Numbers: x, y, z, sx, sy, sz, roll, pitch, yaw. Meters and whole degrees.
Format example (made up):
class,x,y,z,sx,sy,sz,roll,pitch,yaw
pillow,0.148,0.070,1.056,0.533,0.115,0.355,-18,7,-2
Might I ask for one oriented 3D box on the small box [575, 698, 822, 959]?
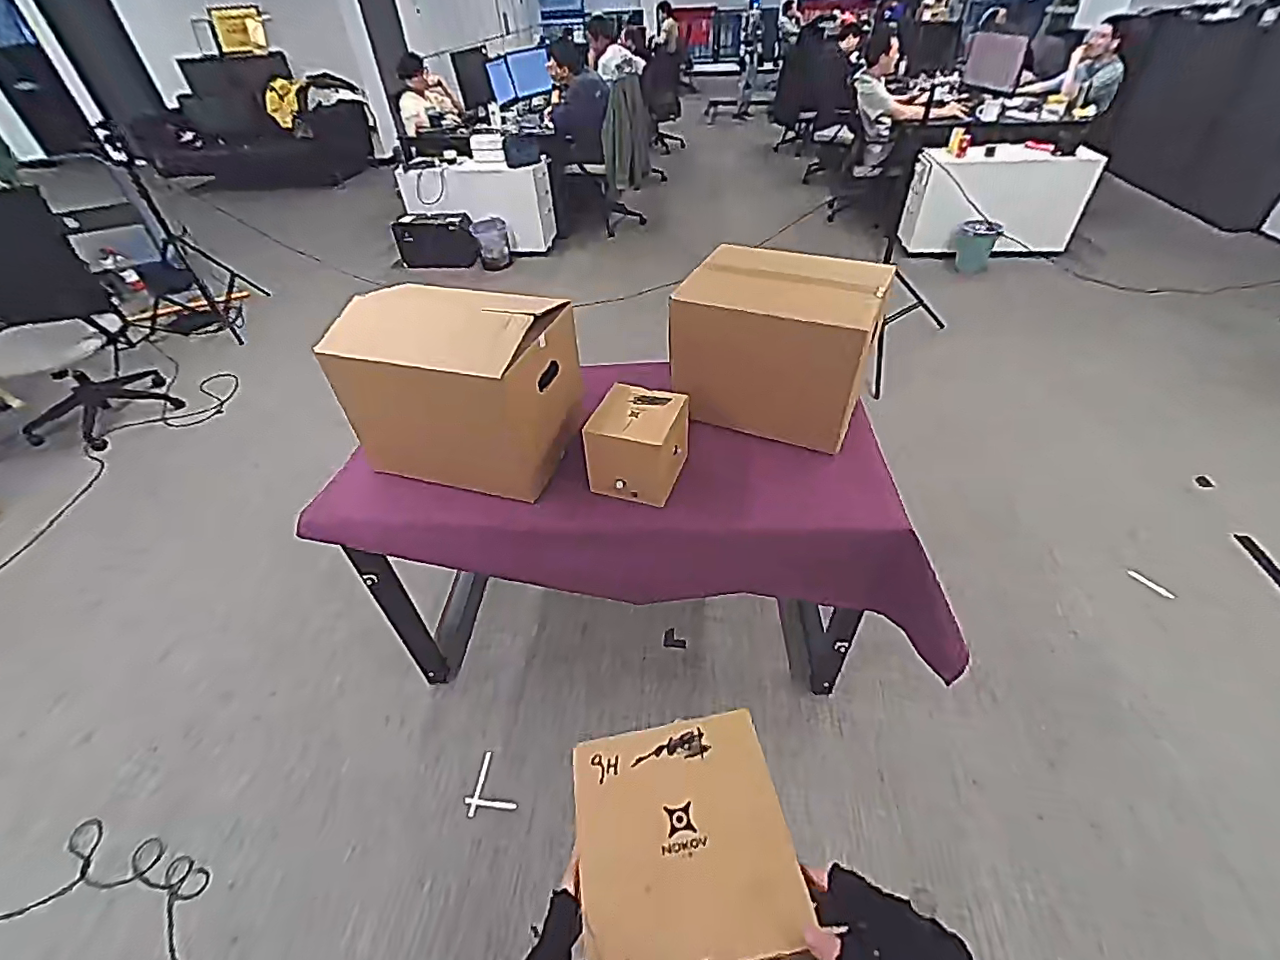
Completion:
class,x,y,z,sx,sy,sz,roll,pitch,yaw
small box,0.042,0.327,0.475,0.168,0.176,0.179,-10,40,-3

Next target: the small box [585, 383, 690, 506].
class,x,y,z,sx,sy,sz,roll,pitch,yaw
small box,0.000,-0.076,1.126,0.168,0.176,0.179,12,45,17
